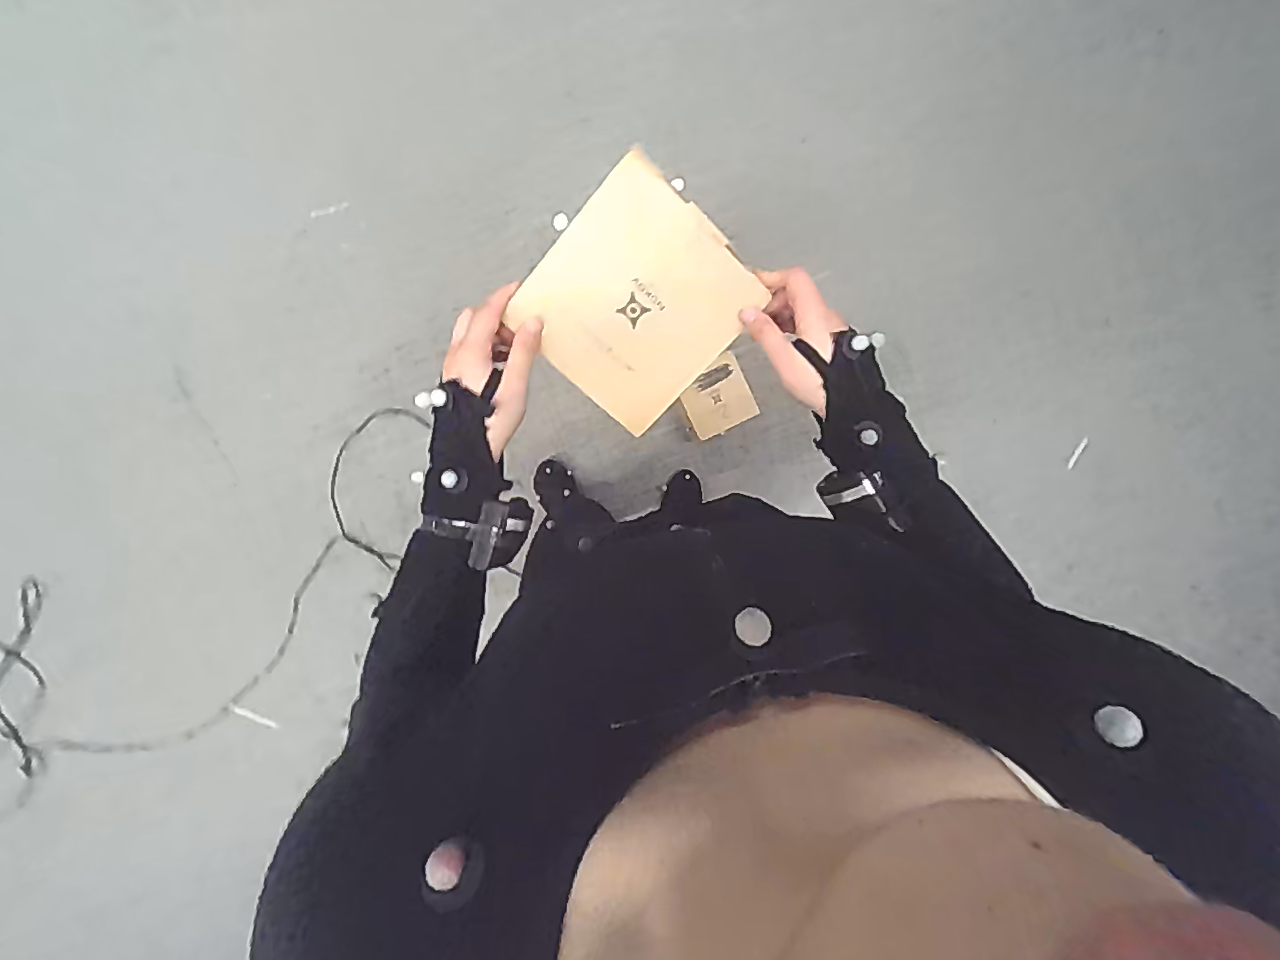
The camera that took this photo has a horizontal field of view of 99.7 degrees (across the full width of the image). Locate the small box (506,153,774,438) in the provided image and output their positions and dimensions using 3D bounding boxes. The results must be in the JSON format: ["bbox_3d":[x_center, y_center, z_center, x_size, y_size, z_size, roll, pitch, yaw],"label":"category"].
[{"bbox_3d":[-0.004,-0.179,0.533,0.168,0.176,0.179,40,108,-17],"label":"small box"}]
